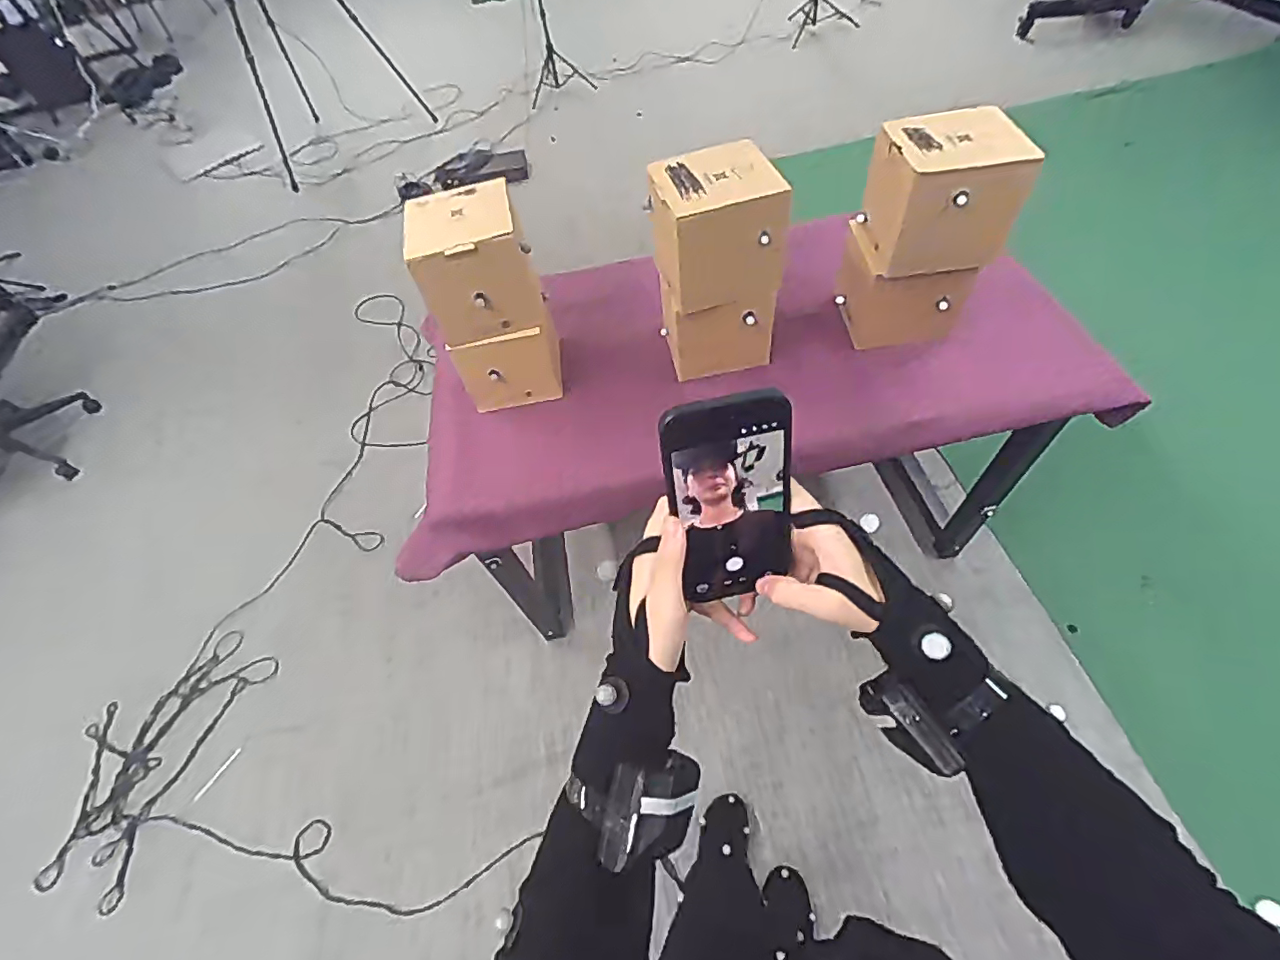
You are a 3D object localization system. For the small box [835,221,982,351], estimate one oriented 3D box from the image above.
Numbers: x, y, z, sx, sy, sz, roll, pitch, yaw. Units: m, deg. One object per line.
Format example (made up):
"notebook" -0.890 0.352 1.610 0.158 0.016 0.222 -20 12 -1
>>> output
"small box" 0.478 -0.360 0.993 0.179 0.176 0.168 -6 55 5

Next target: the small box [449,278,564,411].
"small box" -0.244 -0.248 1.025 0.168 0.176 0.179 -11 55 1

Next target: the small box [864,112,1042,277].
"small box" 0.468 -0.441 0.850 0.179 0.176 0.168 -6 55 4

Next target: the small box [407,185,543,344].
"small box" -0.266 -0.346 0.895 0.168 0.176 0.179 -14 56 -2

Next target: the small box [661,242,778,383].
"small box" 0.142 -0.306 1.005 0.179 0.176 0.168 -11 55 1
